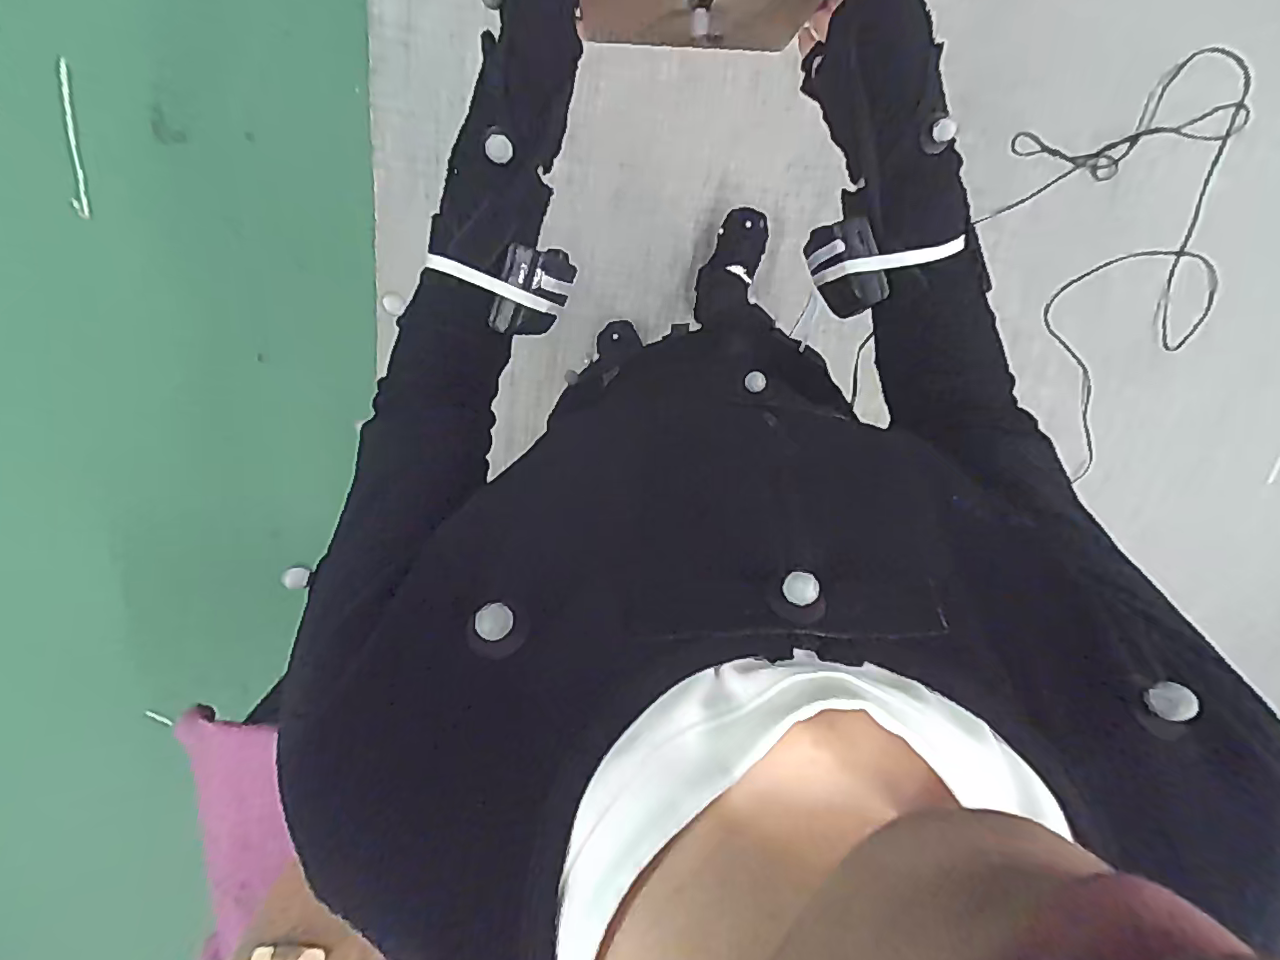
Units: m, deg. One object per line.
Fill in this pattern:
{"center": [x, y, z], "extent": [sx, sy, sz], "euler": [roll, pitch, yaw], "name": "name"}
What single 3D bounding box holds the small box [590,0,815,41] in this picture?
{"center": [0.045, -0.400, 0.330], "extent": [0.168, 0.176, 0.179], "euler": [-2, 111, -2], "name": "small box"}
